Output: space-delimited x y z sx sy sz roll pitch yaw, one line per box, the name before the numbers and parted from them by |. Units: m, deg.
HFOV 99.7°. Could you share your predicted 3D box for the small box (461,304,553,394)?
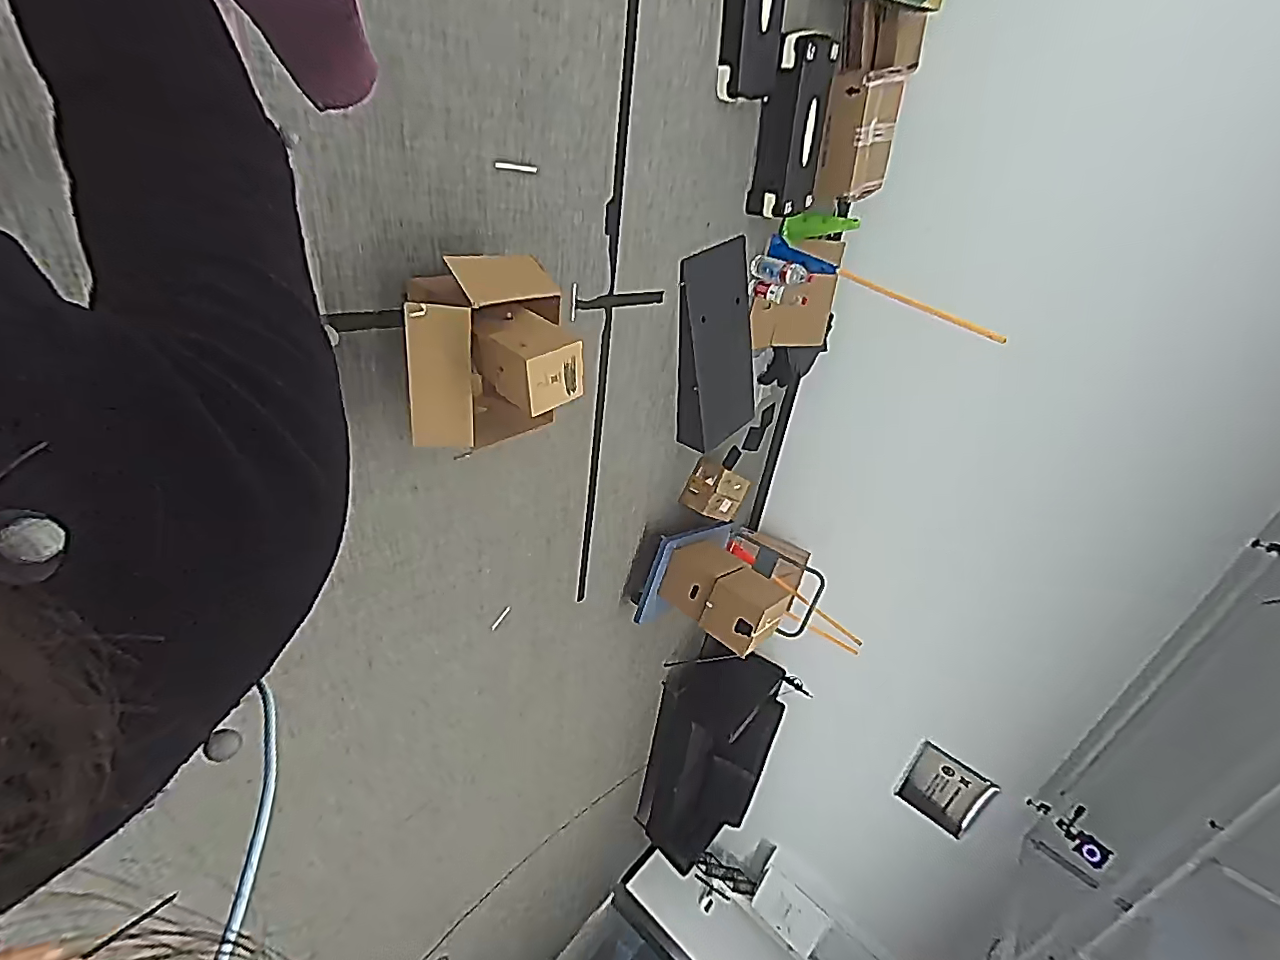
small box | -0.378 -0.380 1.532 0.168 0.176 0.179 -39 145 -26
